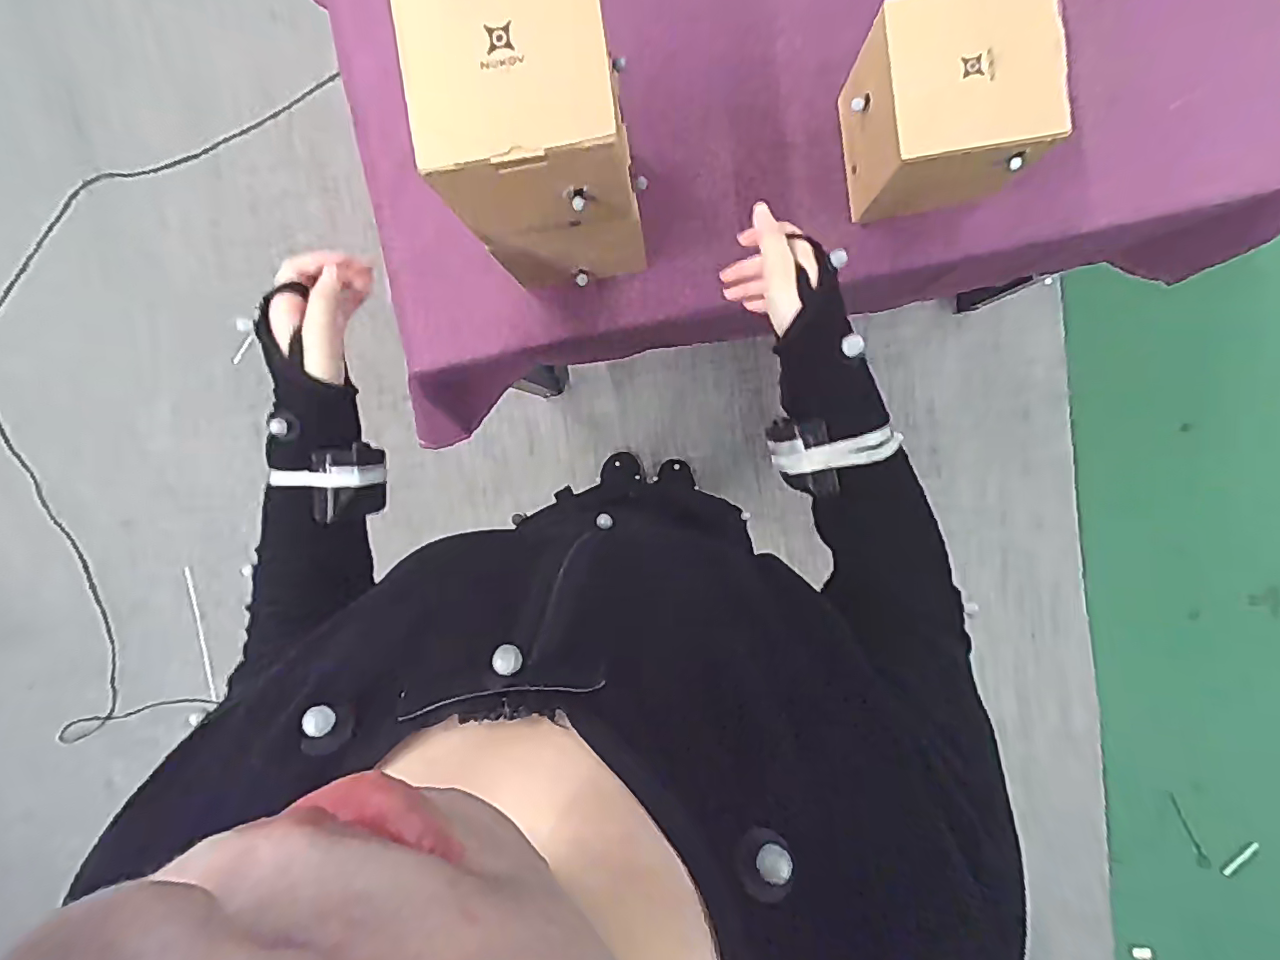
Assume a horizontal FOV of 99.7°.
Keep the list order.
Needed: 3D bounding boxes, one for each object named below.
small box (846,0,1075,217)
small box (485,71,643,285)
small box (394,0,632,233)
[{"bbox_3d":[0.353,-0.430,0.632,0.179,0.176,0.168,-7,93,4],"label":"small box"},{"bbox_3d":[-0.091,-0.356,0.669,0.179,0.176,0.168,-8,93,4],"label":"small box"},{"bbox_3d":[-0.103,-0.349,0.505,0.168,0.176,0.179,-7,93,4],"label":"small box"}]
